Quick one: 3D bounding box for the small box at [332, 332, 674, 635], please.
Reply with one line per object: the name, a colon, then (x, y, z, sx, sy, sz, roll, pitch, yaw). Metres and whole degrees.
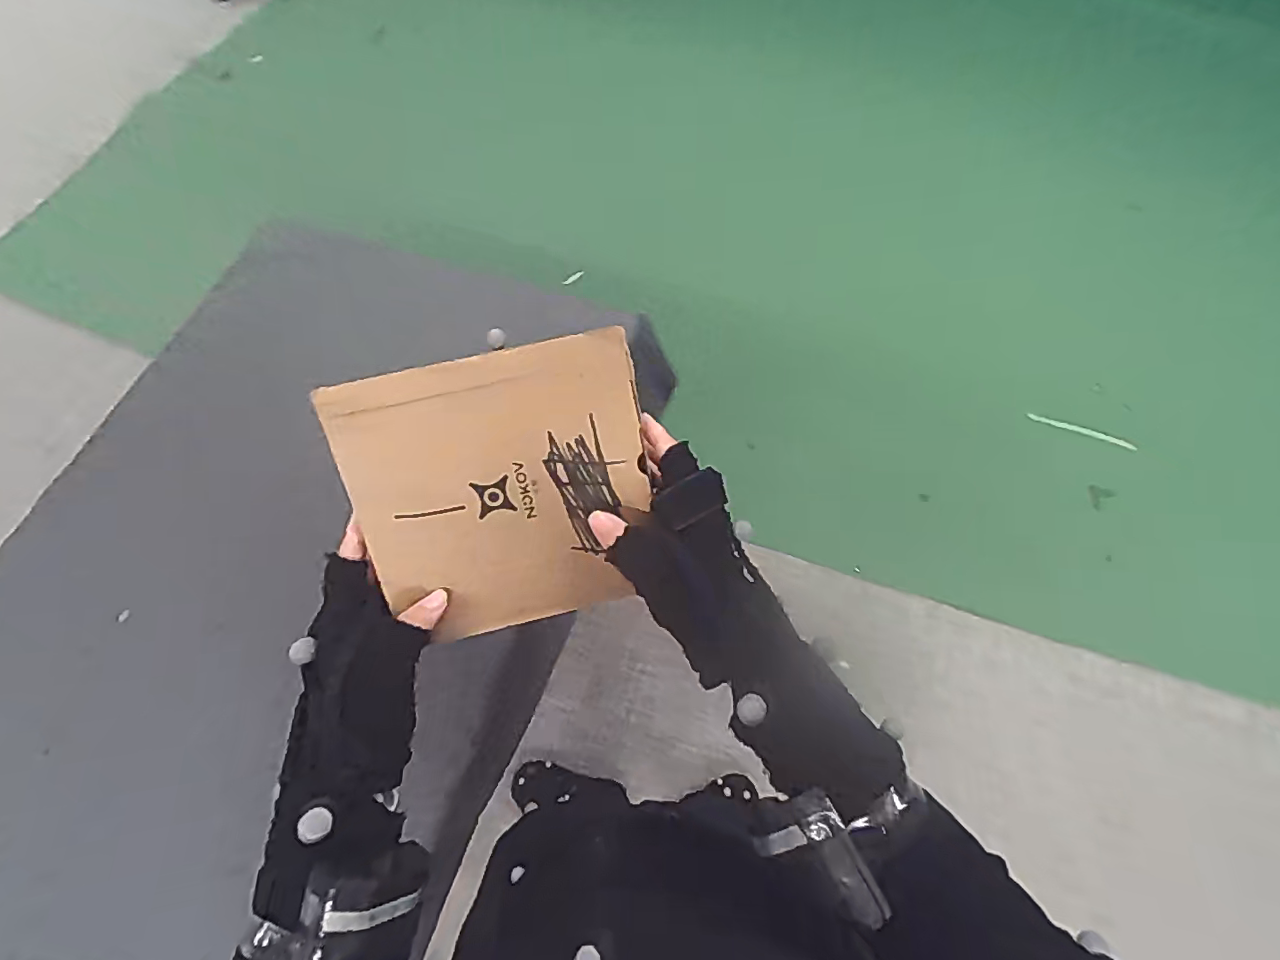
small box: (-0.083, -0.014, 0.398, 0.179, 0.176, 0.168, -10, 104, -4)
